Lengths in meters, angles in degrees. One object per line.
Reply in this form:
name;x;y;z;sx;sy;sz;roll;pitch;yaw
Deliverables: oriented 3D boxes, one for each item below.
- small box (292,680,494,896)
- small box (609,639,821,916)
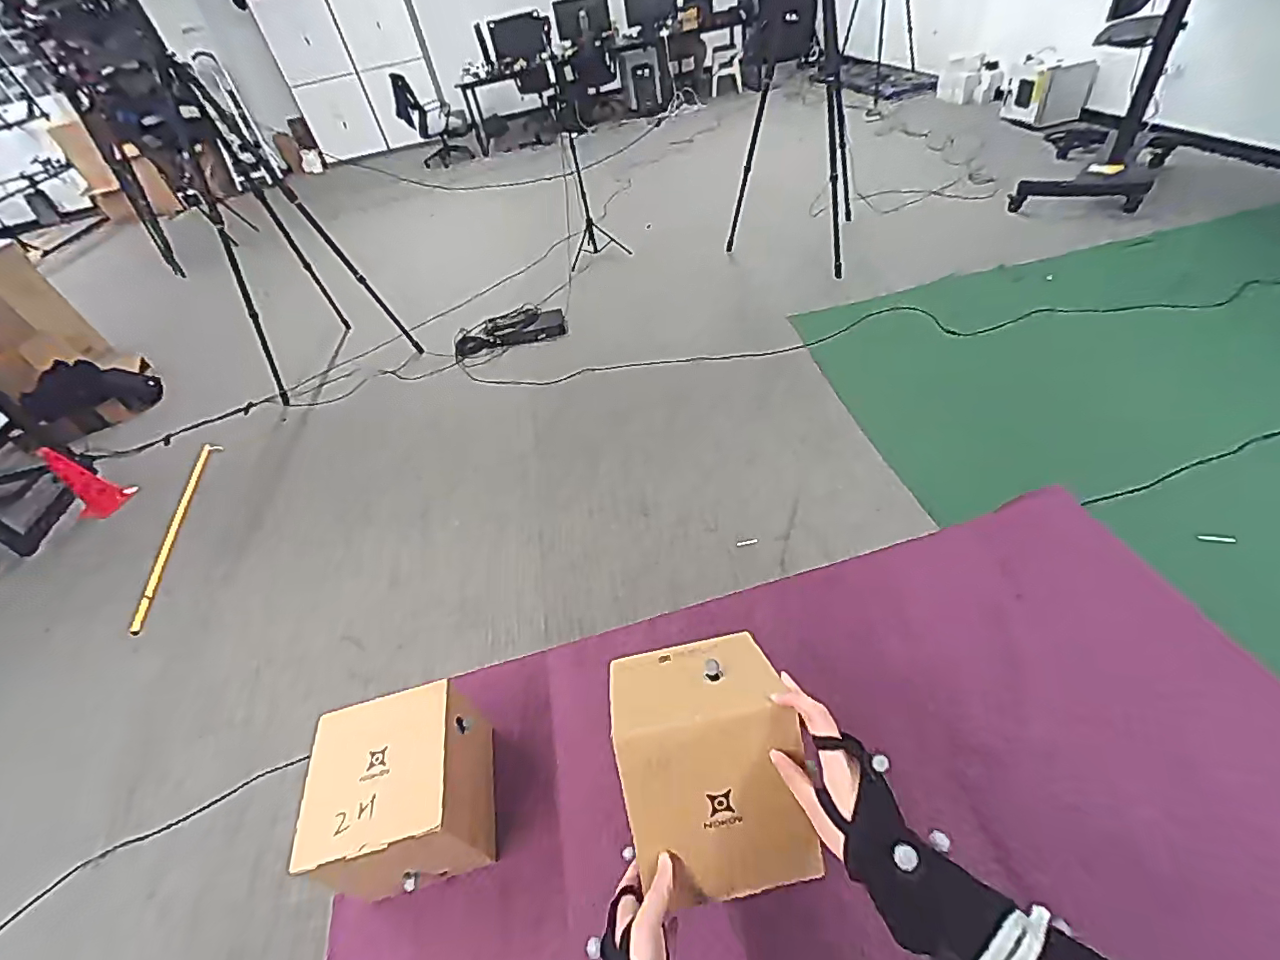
small box;-0.293;0.390;0.686;0.168;0.176;0.179;-16;44;-2
small box;0.063;0.280;0.553;0.168;0.179;0.176;-12;8;-2
